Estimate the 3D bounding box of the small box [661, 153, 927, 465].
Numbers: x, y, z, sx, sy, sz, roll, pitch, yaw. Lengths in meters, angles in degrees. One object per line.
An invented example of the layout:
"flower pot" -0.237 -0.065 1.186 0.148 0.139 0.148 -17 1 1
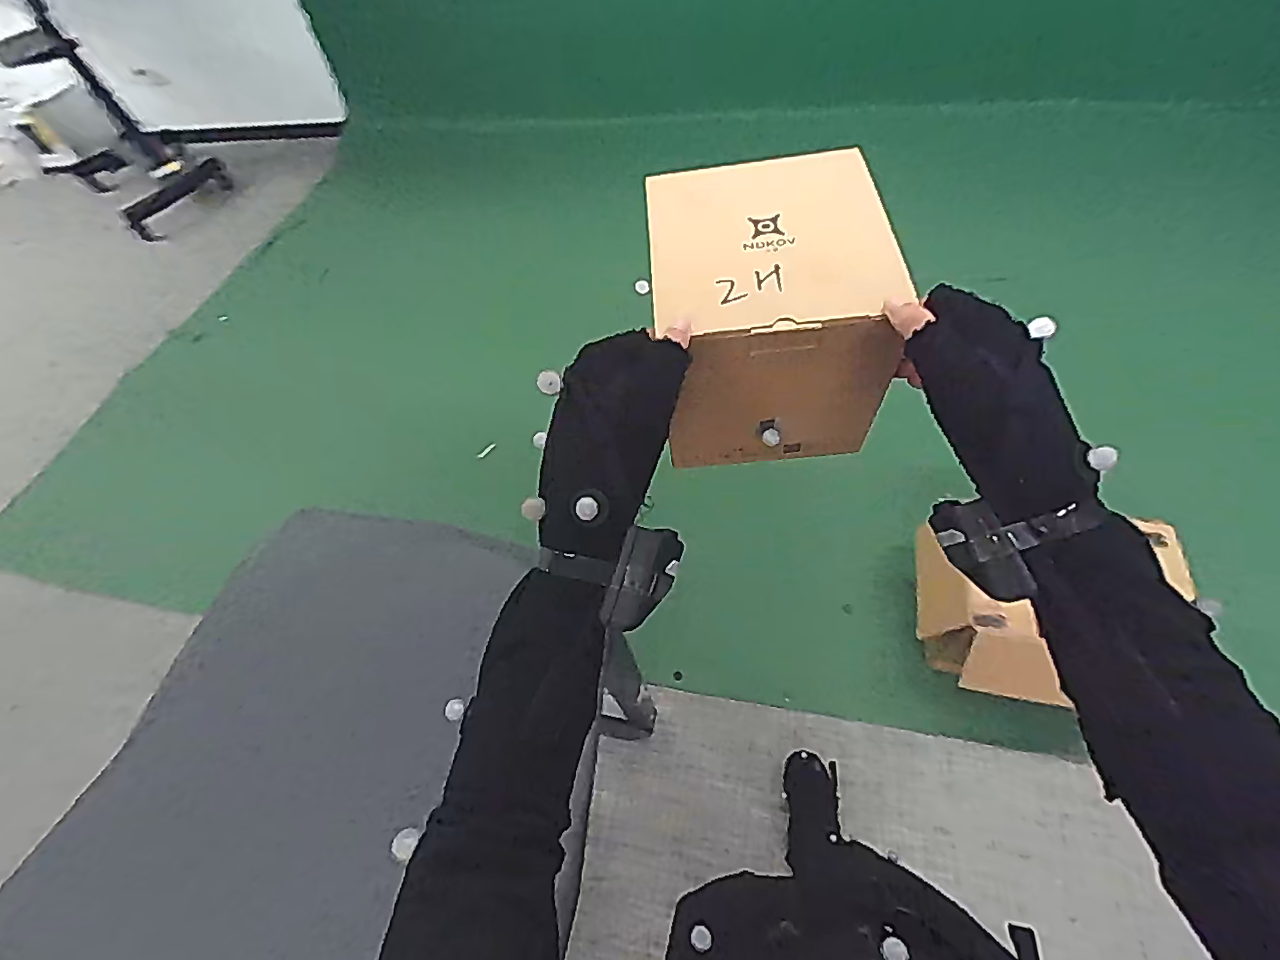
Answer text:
"small box" 0.106 -0.132 0.450 0.168 0.176 0.179 -4 60 6
